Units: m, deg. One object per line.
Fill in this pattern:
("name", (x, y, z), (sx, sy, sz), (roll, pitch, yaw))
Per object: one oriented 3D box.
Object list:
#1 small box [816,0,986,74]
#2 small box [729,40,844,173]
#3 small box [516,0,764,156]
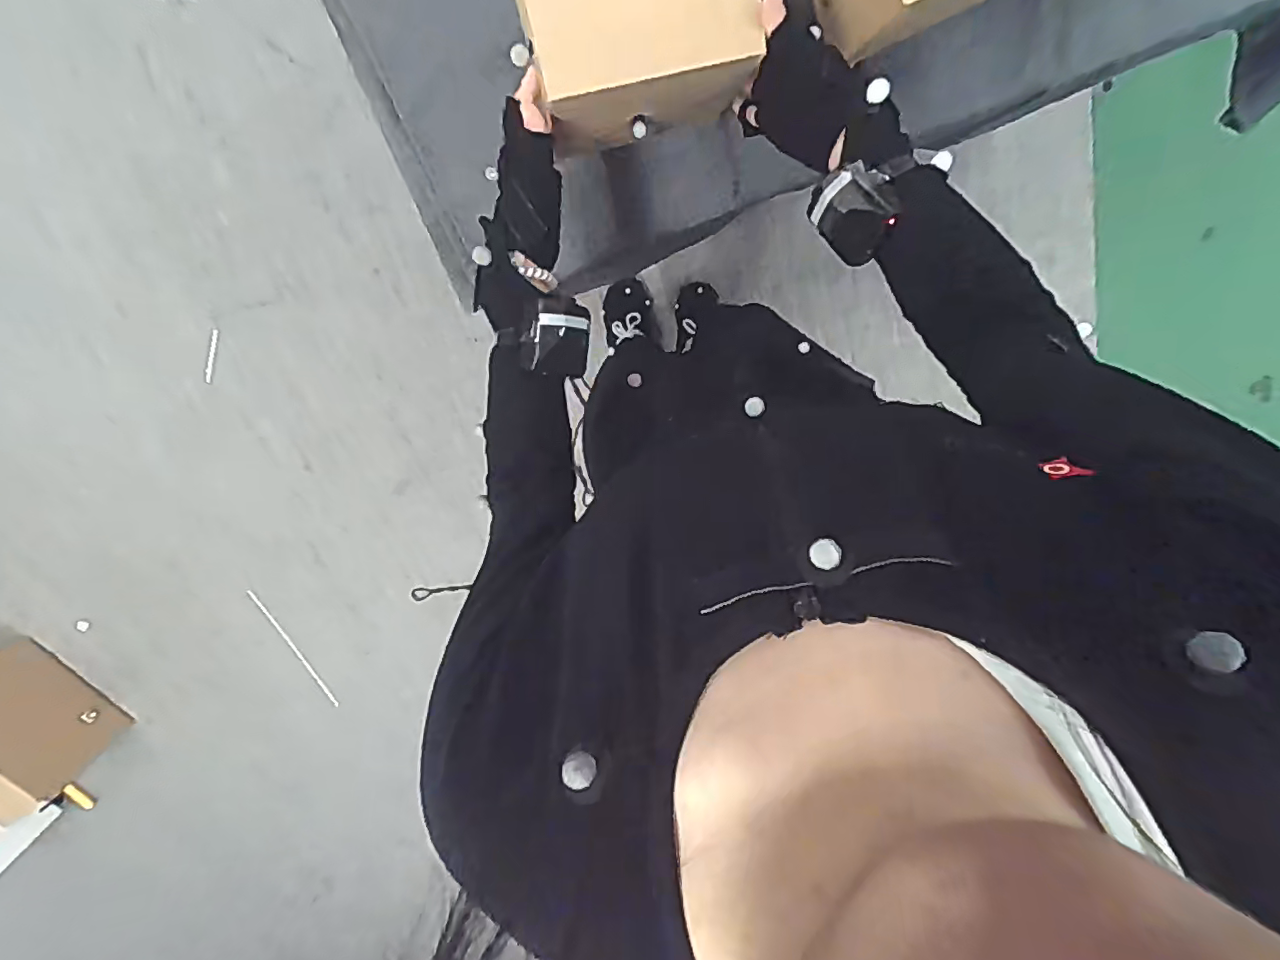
("small box", (0.260, -0.516, 0.489), (0.179, 0.176, 0.168), (-24, 110, 6))
("small box", (0.308, -0.790, 1.163), (0.179, 0.176, 0.168), (-21, 111, 7))
("small box", (-0.014, -0.384, 0.436), (0.168, 0.176, 0.179), (-14, 109, -3))
